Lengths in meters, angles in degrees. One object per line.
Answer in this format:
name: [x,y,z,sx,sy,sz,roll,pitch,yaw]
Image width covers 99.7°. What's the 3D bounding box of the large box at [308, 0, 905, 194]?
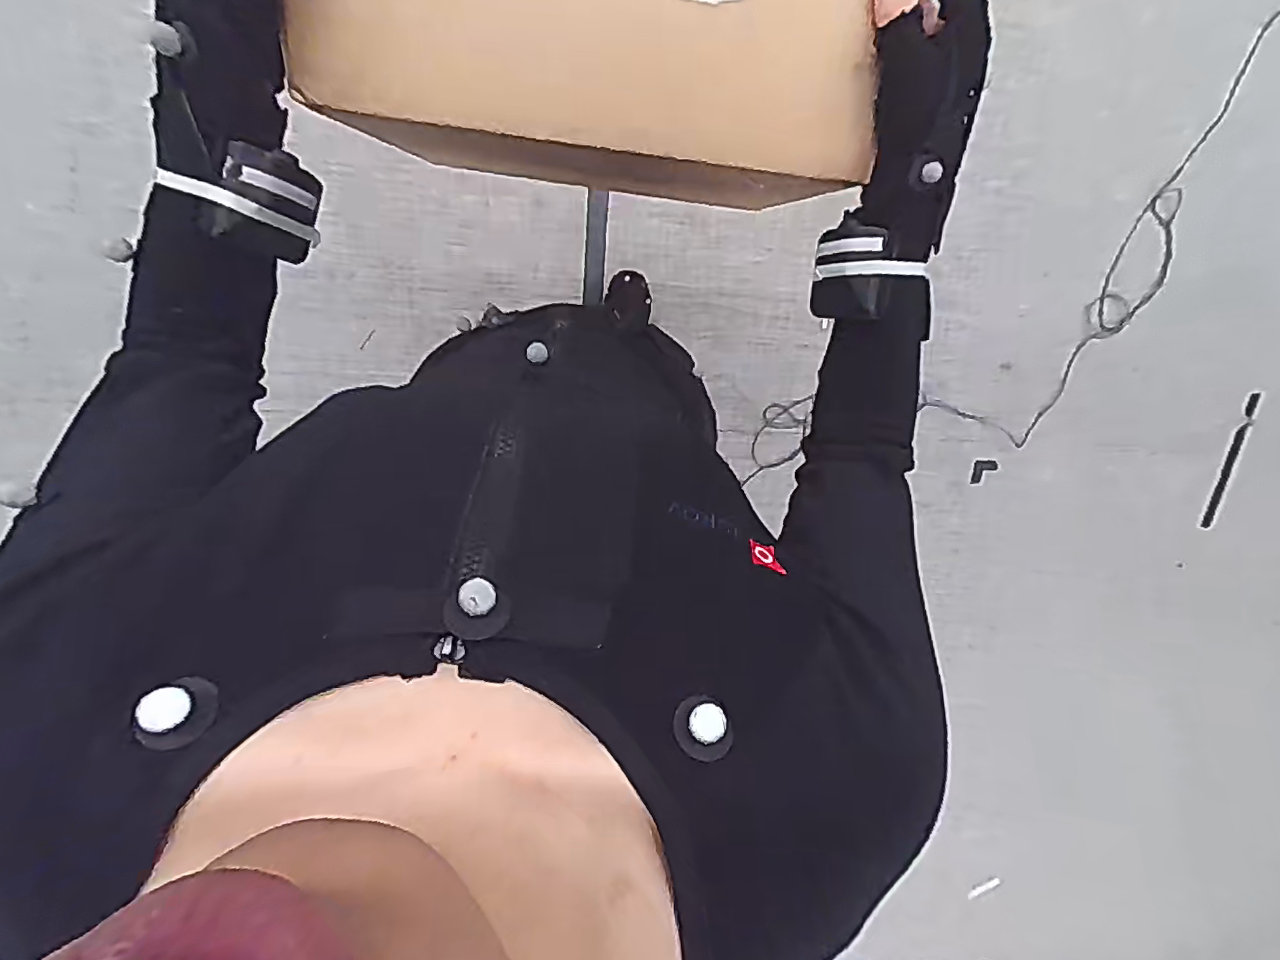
large box: [-0.020,-0.449,0.465,0.408,0.320,0.320,4,114,-6]
